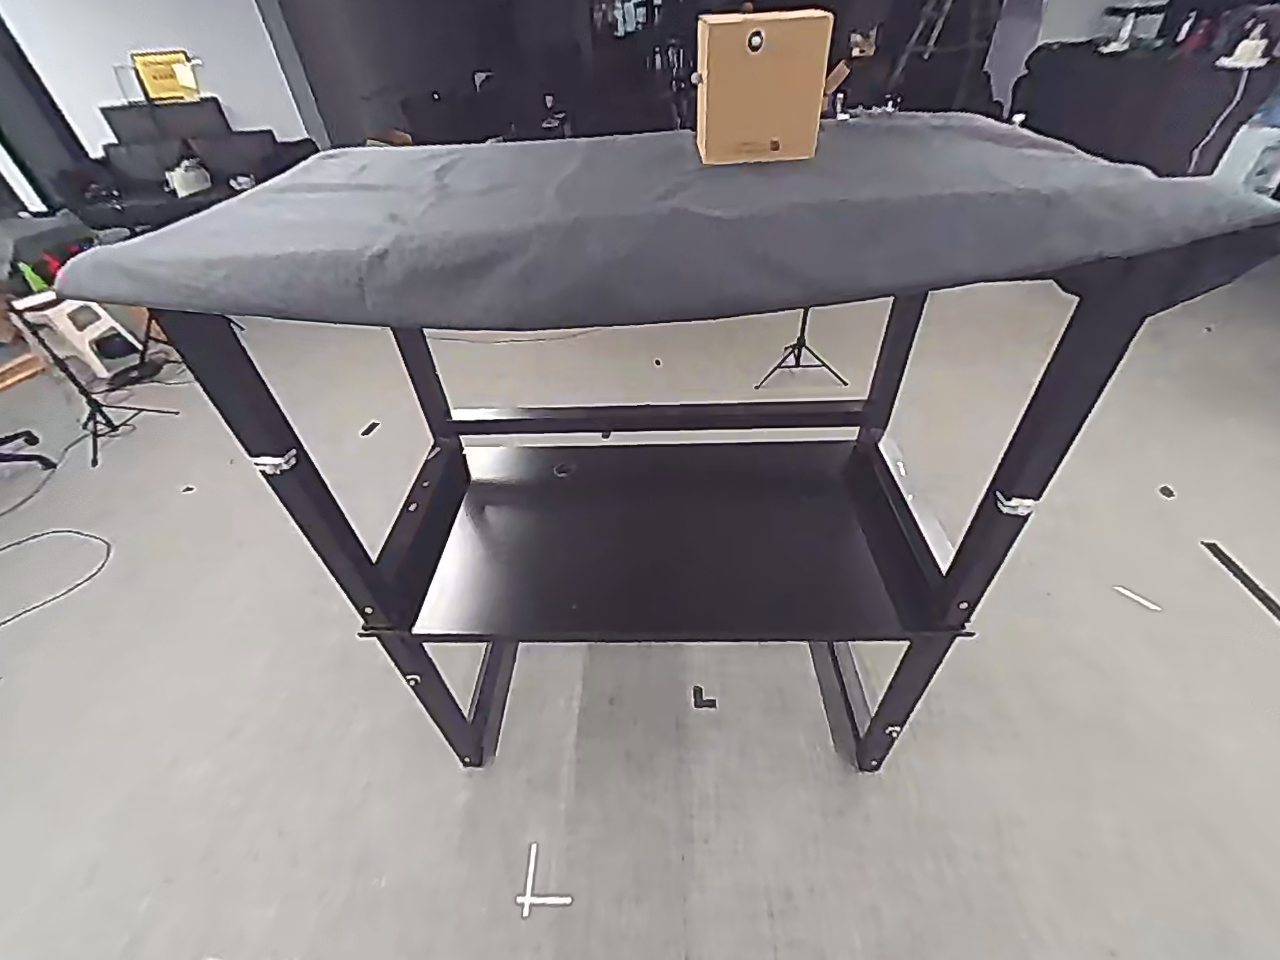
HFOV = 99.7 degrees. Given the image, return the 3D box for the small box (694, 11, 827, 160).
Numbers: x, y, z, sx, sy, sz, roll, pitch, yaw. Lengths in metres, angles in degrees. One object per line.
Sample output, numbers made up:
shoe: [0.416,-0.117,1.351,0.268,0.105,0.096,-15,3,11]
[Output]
small box: [0.170,-0.598,0.825,0.168,0.176,0.179,-2,41,3]
